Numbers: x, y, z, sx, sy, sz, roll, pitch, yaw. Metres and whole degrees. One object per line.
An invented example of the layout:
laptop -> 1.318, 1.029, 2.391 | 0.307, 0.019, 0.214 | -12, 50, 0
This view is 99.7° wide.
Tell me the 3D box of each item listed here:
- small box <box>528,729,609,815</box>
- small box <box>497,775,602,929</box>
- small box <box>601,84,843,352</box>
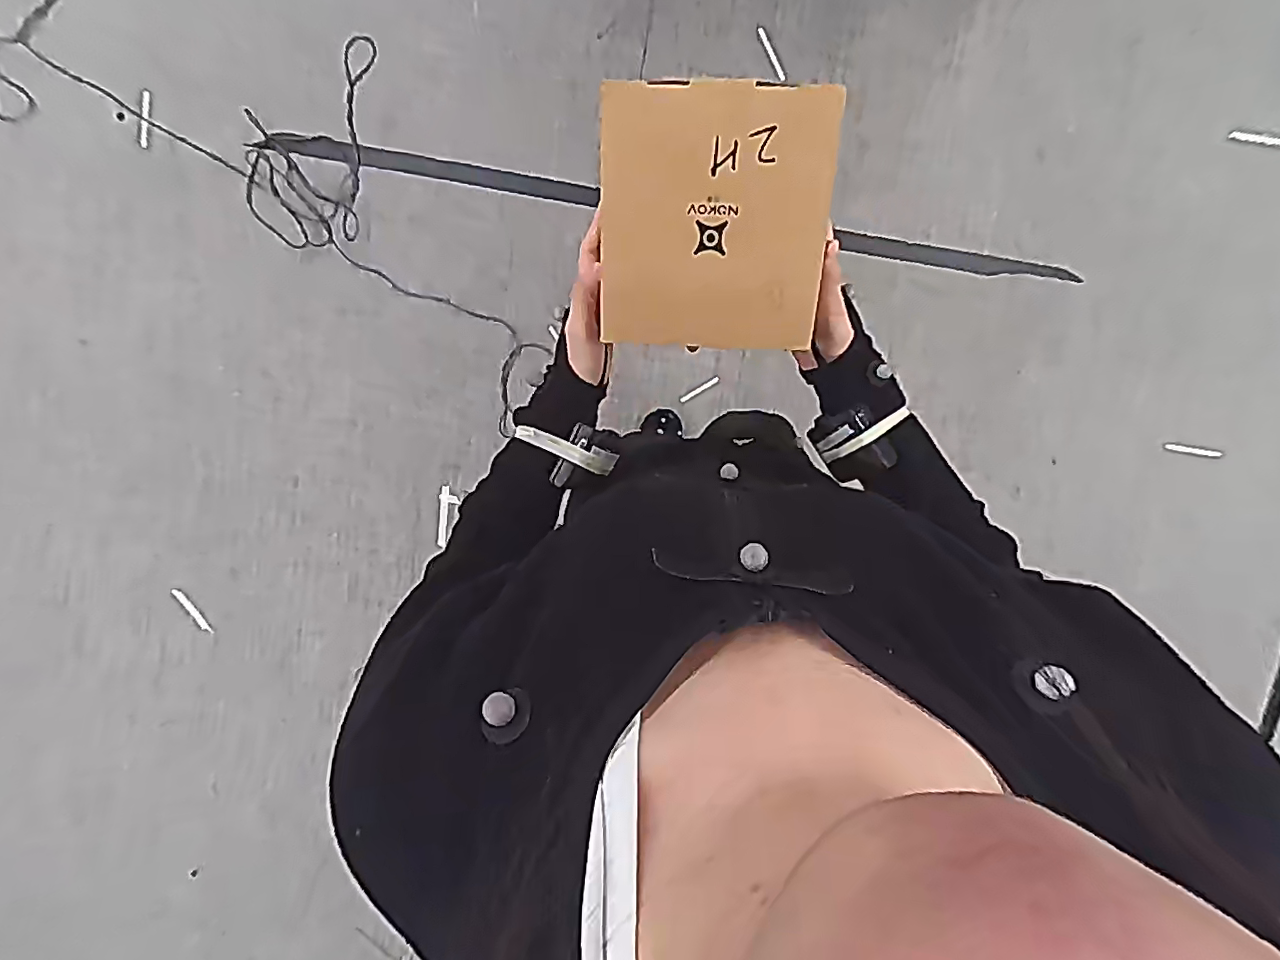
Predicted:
small box -> -0.161, 0.689, 1.200 | 0.168, 0.176, 0.179 | 7, 96, -1
small box -> -0.166, 0.701, 1.038 | 0.168, 0.176, 0.179 | 6, 97, 1
small box -> 0.058, -0.215, 0.473 | 0.168, 0.176, 0.179 | 3, 111, 2
